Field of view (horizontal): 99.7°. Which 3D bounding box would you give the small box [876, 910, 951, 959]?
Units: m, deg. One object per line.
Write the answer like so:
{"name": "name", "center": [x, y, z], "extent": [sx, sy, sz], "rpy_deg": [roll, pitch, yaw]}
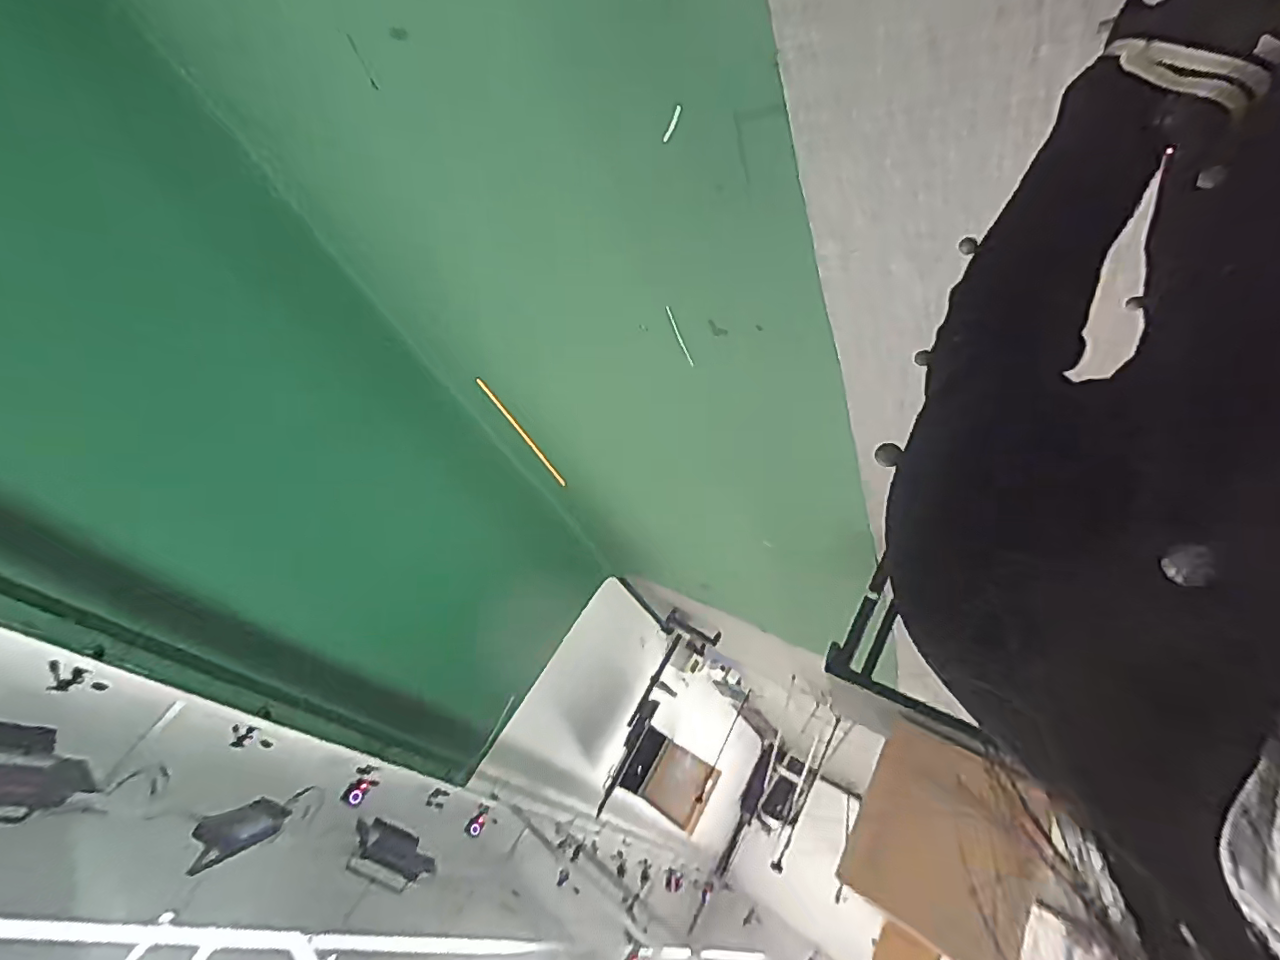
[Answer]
{"name": "small box", "center": [0.917, 1.589, 1.818], "extent": [0.179, 0.176, 0.168], "rpy_deg": [20, 152, 32]}
